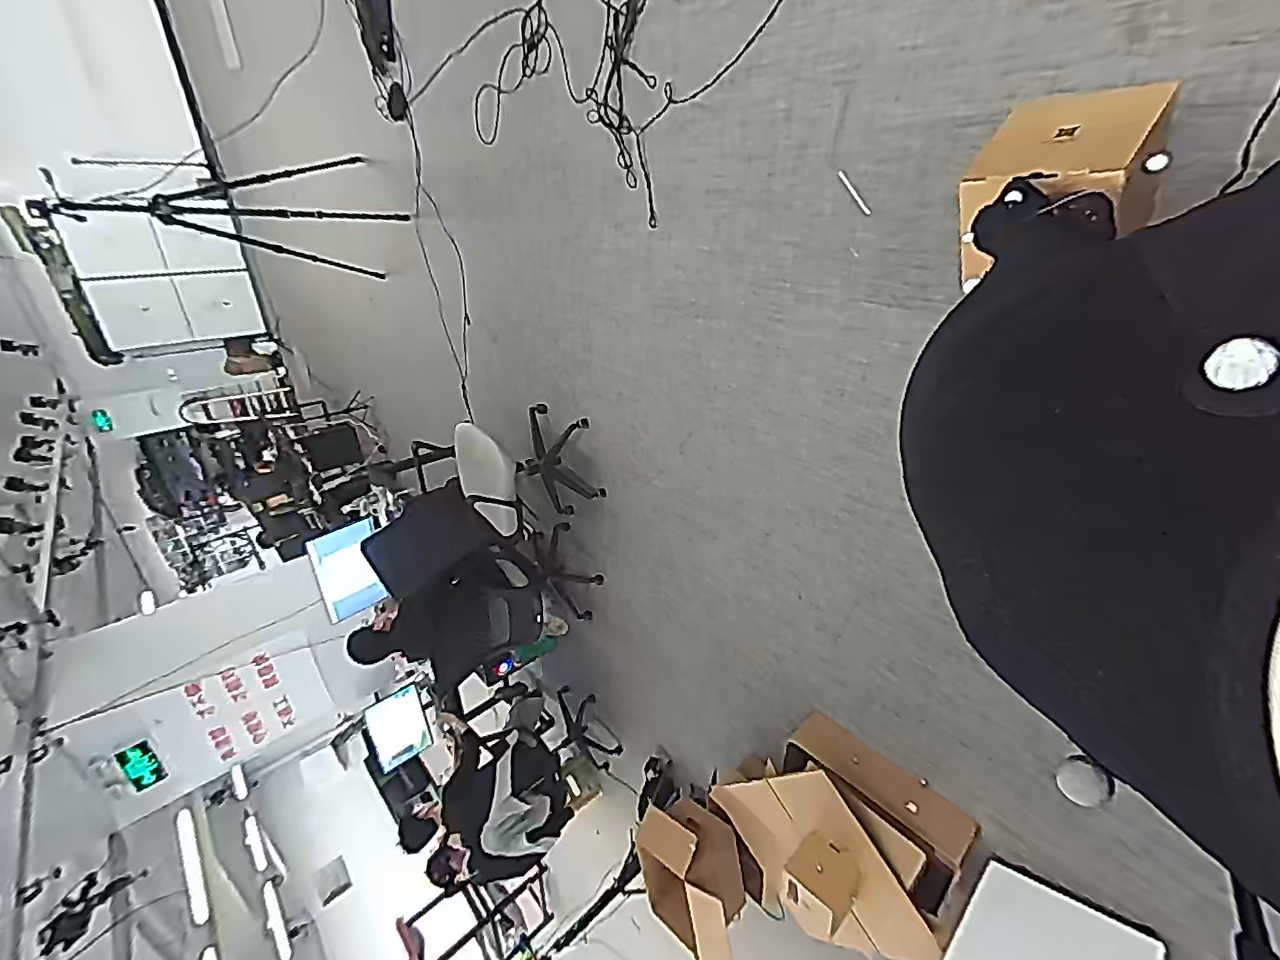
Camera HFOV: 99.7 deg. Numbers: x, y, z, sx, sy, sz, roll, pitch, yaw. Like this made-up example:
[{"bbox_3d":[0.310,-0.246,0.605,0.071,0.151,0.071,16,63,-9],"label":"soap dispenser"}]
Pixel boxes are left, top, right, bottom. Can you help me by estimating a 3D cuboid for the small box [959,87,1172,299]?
[{"bbox_3d":[0.543,-0.366,0.709,0.168,0.179,0.176,24,159,44],"label":"small box"}]
